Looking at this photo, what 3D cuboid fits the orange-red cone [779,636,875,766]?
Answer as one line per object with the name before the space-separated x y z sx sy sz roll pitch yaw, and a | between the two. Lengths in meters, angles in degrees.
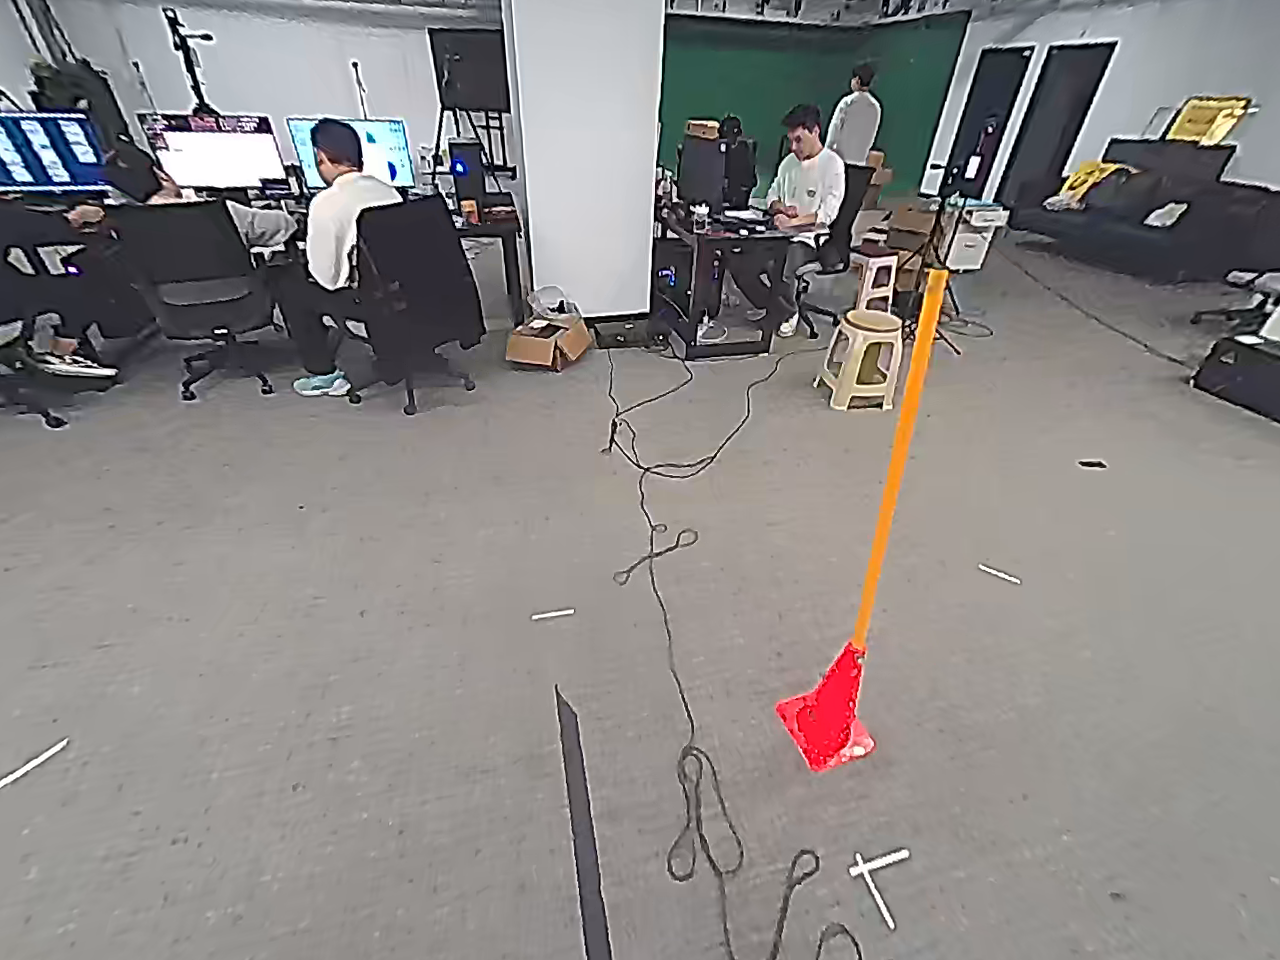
orange-red cone | 0.503 0.522 1.363 0.199 0.360 0.198 -11 37 -15
